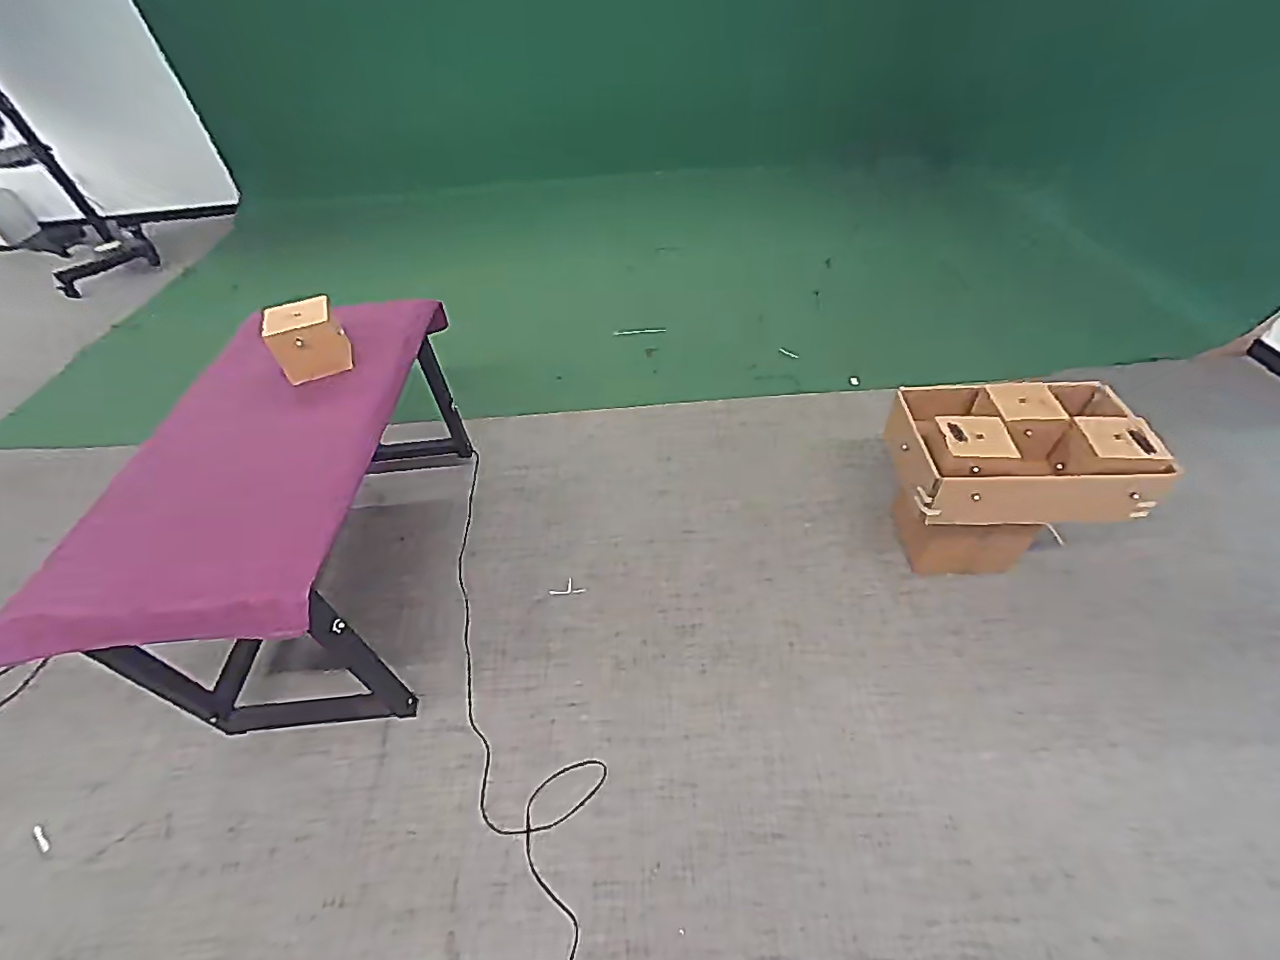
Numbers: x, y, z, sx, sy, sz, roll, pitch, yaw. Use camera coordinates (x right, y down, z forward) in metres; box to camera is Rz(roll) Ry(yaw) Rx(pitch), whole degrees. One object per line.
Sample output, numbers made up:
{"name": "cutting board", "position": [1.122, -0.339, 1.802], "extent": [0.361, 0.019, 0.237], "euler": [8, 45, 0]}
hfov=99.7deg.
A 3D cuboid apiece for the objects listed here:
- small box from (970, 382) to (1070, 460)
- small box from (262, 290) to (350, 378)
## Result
{"name": "small box", "position": [1.114, -0.173, 1.609], "extent": [0.179, 0.176, 0.168], "euler": [-1, 49, 5]}
{"name": "small box", "position": [-0.982, -0.432, 1.606], "extent": [0.179, 0.176, 0.168], "euler": [-20, 49, -13]}
